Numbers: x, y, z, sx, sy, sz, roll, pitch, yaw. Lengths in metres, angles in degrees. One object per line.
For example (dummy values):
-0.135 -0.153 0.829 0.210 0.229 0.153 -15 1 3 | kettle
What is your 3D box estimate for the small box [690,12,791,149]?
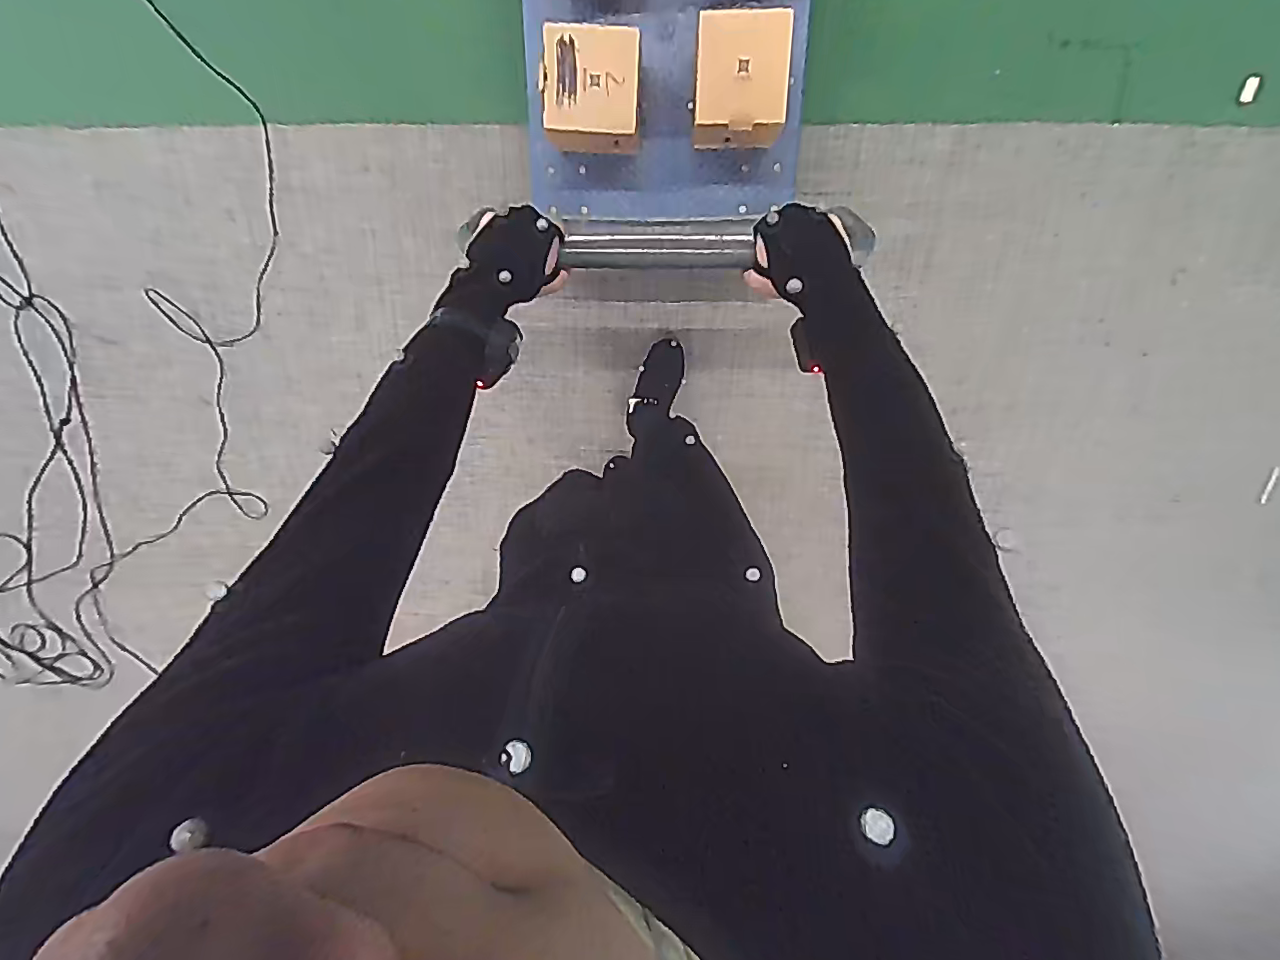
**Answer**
0.185 -0.760 1.046 0.168 0.176 0.179 1 110 2 | small box
